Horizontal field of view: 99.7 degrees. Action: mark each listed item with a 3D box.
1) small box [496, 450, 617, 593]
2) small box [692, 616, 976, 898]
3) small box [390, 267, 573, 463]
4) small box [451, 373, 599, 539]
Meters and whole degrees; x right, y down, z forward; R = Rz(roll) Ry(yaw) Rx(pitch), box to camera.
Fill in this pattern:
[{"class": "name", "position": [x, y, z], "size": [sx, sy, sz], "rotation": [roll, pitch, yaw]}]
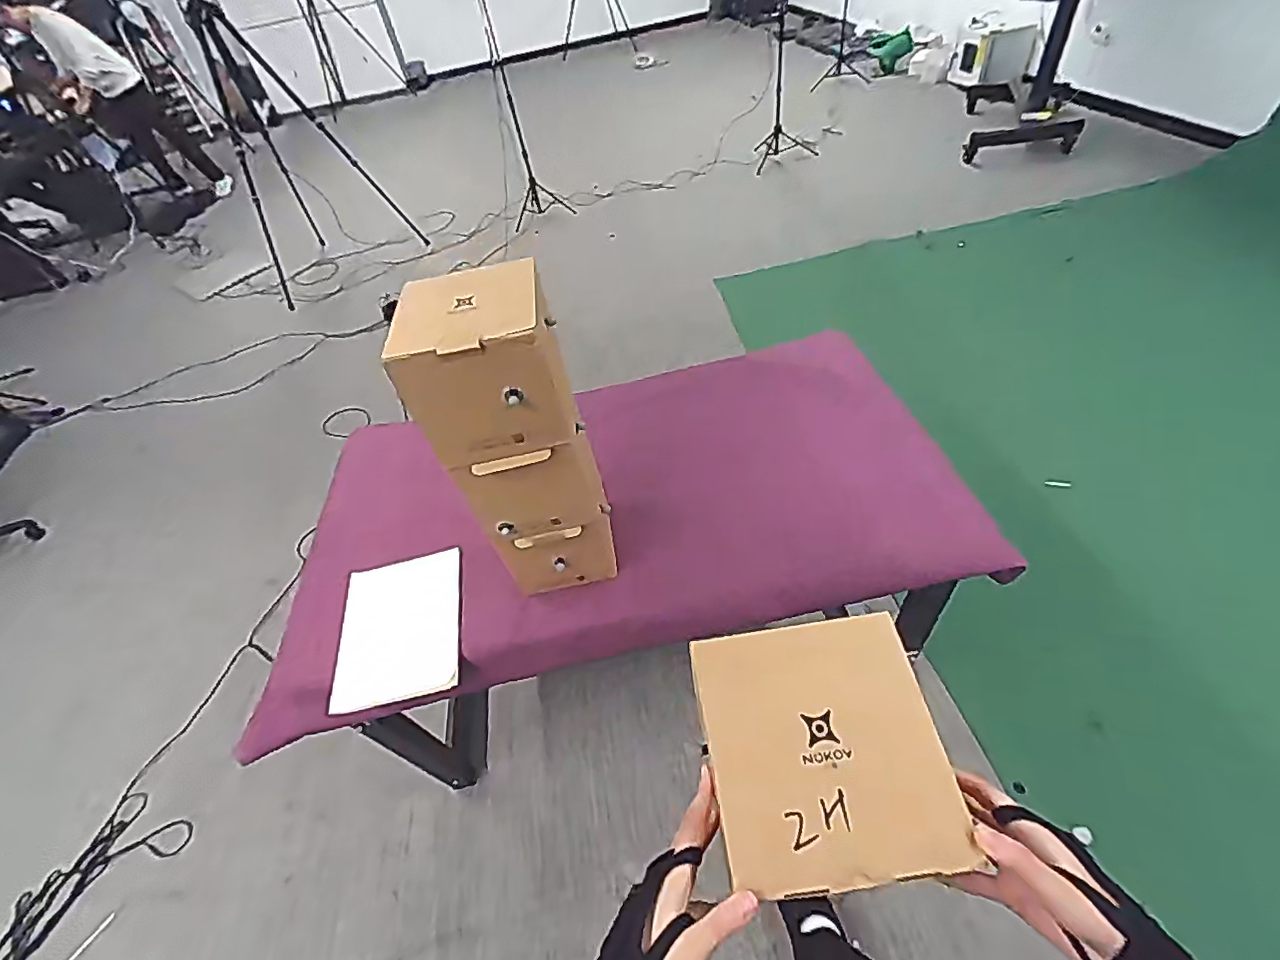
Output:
[{"class": "small box", "position": [-0.138, 0.076, 0.926], "size": [0.168, 0.176, 0.179], "rotation": [-11, 47, 0]}, {"class": "small box", "position": [0.138, 0.238, 0.466], "size": [0.168, 0.176, 0.179], "rotation": [-9, 56, 2]}, {"class": "small box", "position": [-0.183, -0.137, 0.680], "size": [0.168, 0.176, 0.179], "rotation": [-10, 46, 0]}, {"class": "small box", "position": [-0.161, -0.030, 0.802], "size": [0.168, 0.176, 0.179], "rotation": [-11, 46, 0]}]
